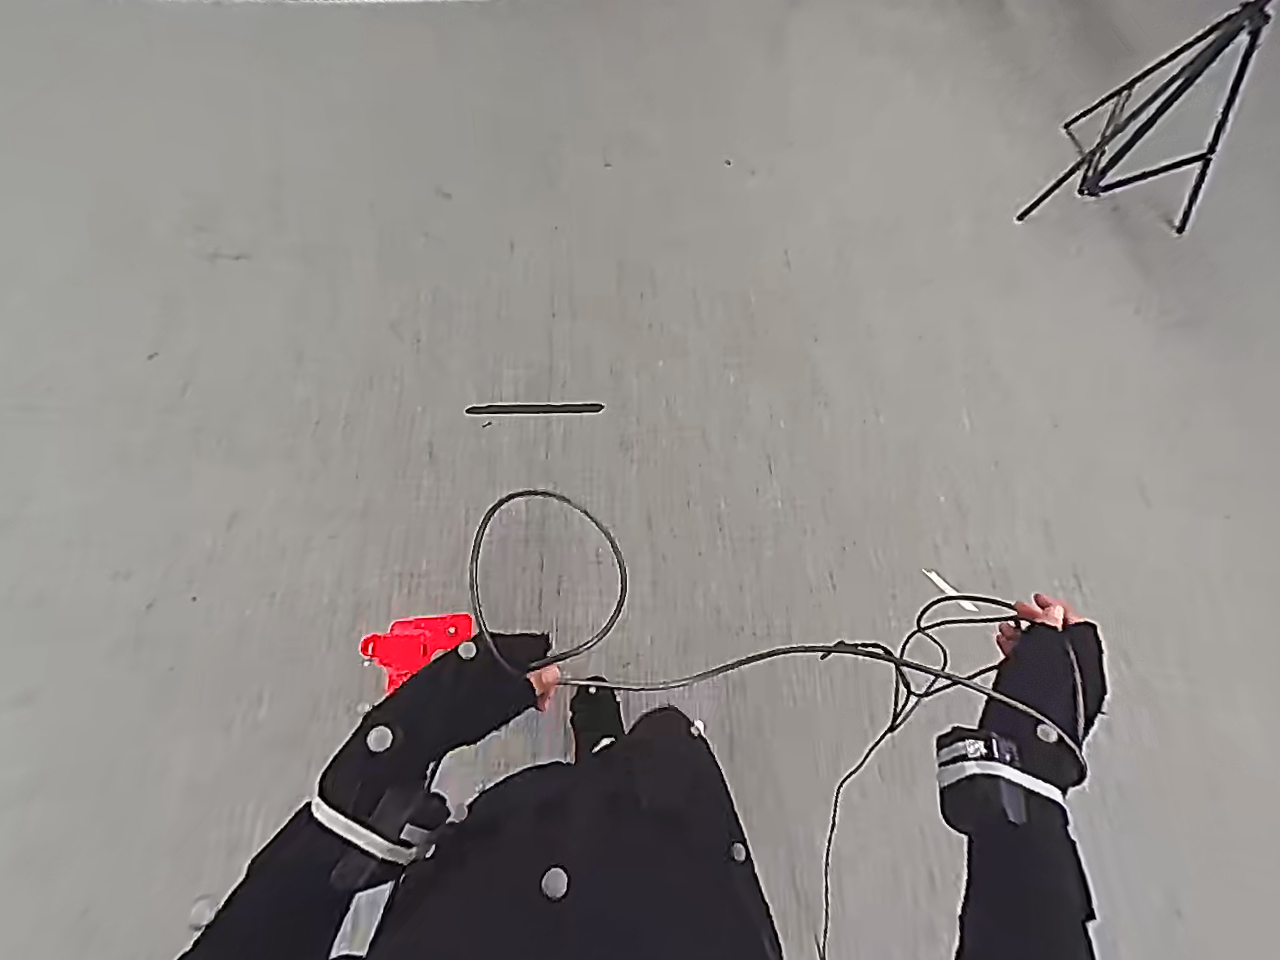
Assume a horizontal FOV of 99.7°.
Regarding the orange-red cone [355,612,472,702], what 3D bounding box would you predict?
[{"bbox_3d":[-0.502,0.355,1.134,0.199,0.360,0.198,-4,68,-3],"label":"orange-red cone"}]
